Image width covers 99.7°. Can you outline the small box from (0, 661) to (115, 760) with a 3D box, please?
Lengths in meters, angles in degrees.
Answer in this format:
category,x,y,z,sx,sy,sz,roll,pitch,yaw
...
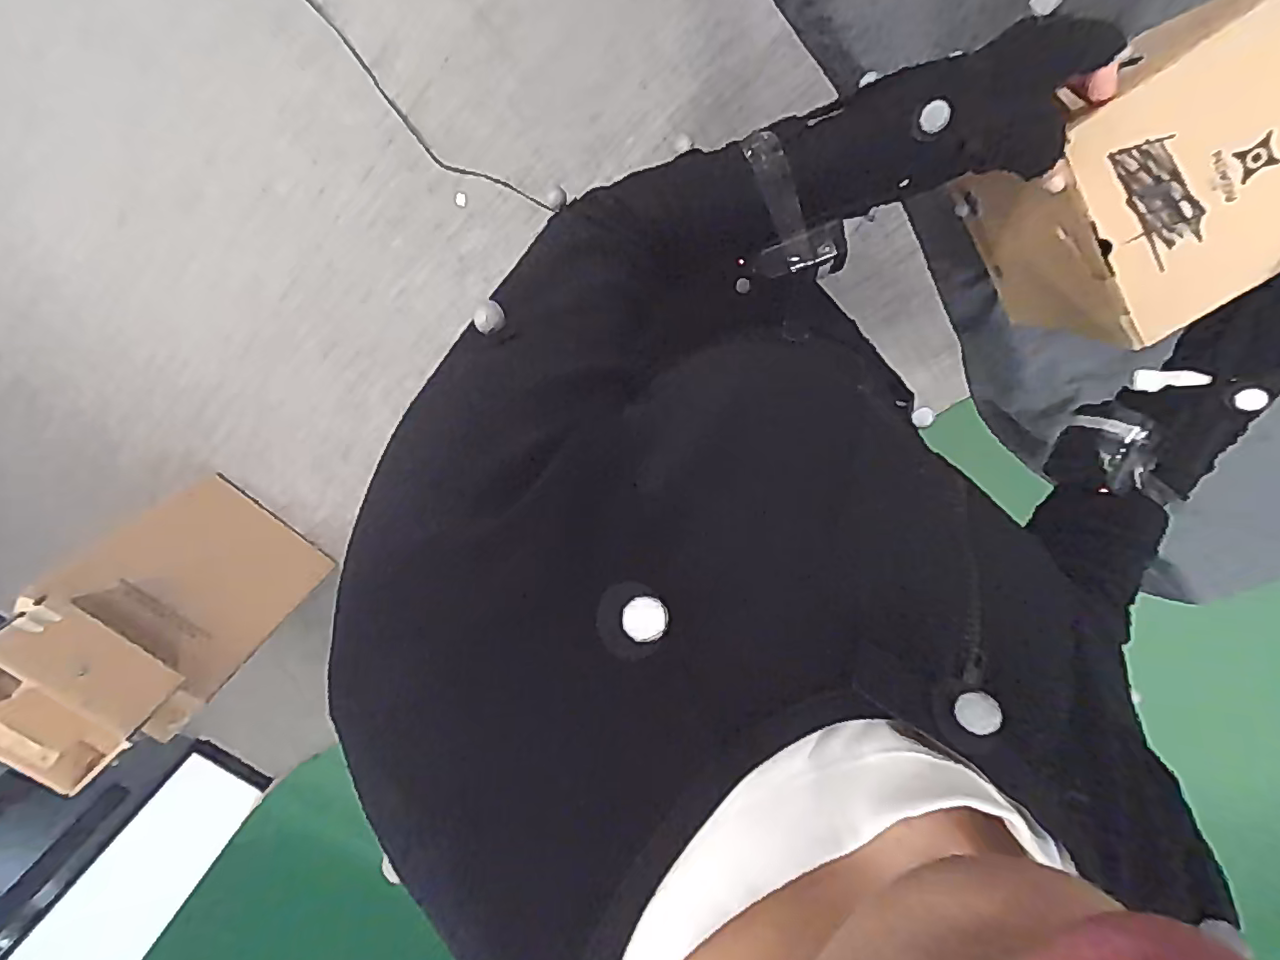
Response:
category,x,y,z,sx,sy,sz,roll,pitch,yaw
small box,-1.599,0.615,1.463,0.168,0.176,0.179,-34,109,30
